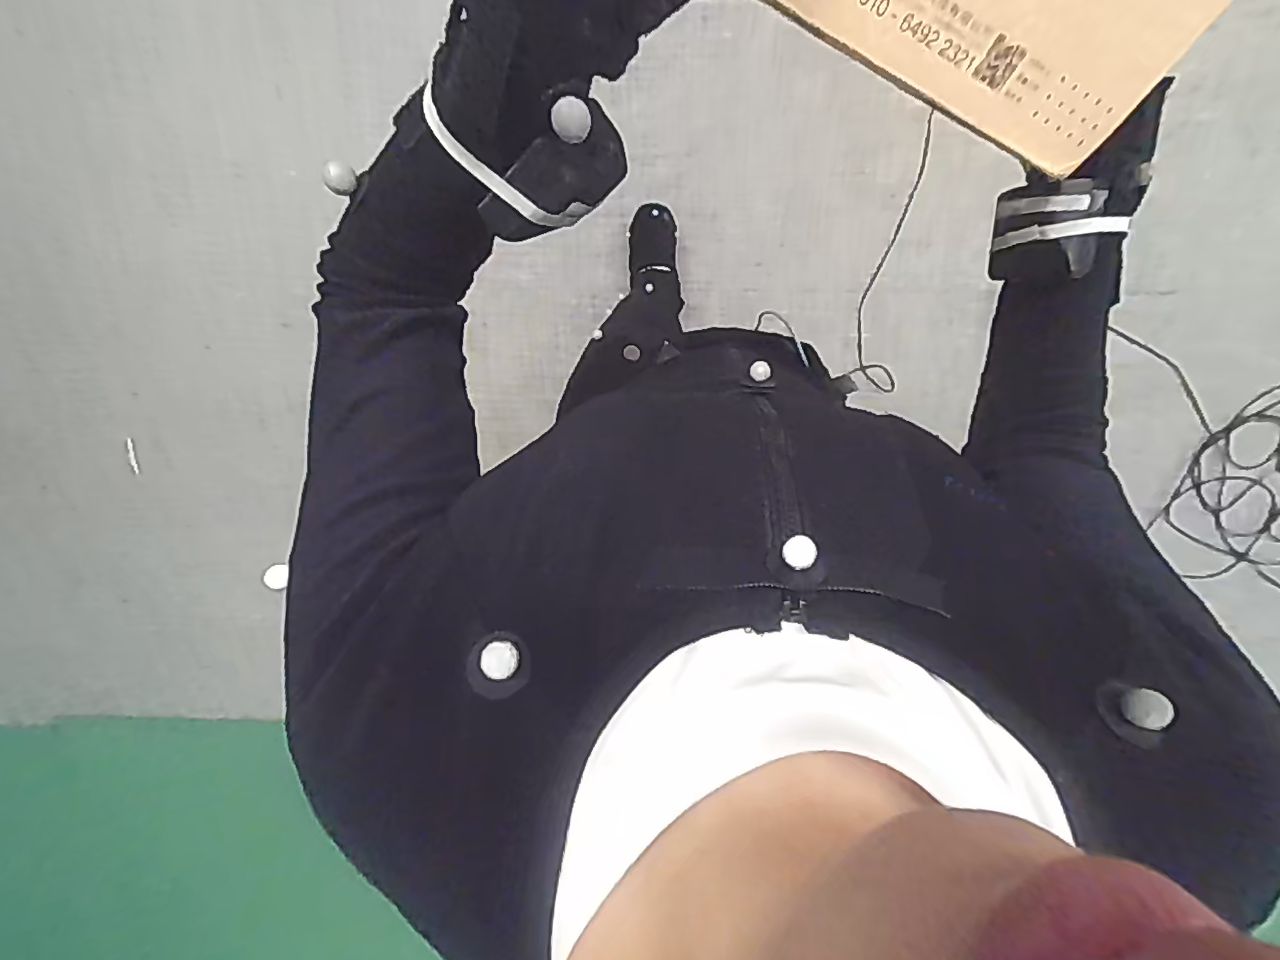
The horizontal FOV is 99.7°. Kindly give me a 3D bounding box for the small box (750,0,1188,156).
[{"bbox_3d":[0.156,-0.282,0.245,0.168,0.179,0.176,21,130,-10],"label":"small box"}]
